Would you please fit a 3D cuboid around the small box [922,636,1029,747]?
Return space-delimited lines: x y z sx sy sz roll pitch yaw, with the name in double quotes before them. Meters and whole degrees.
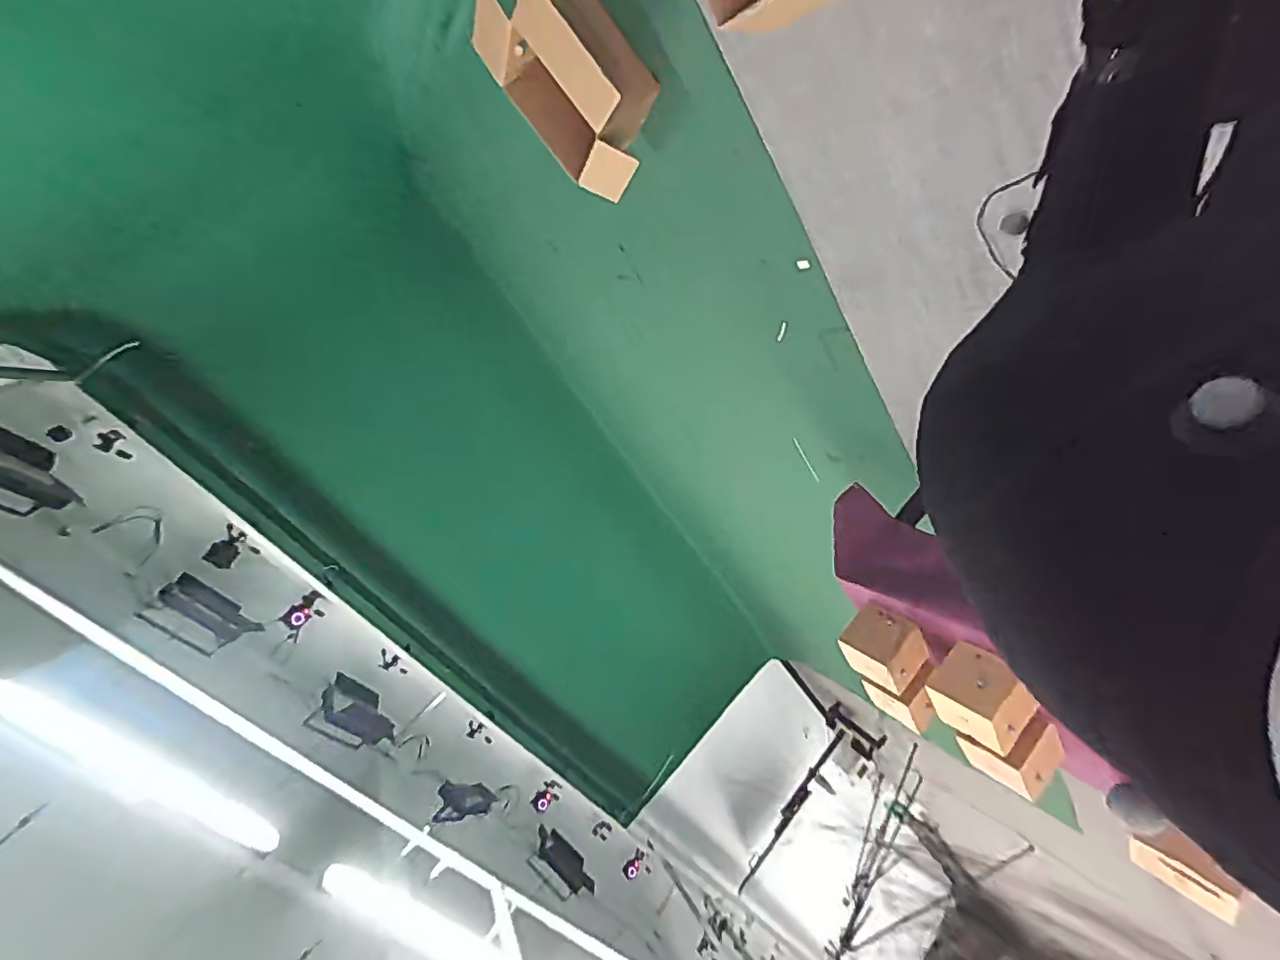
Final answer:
"small box" 0.868 0.537 1.397 0.168 0.176 0.179 21 151 56

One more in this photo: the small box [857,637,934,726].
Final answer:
"small box" 0.842 0.646 1.749 0.168 0.176 0.179 23 154 54

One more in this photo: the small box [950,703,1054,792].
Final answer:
"small box" 0.996 0.700 1.481 0.179 0.176 0.168 54 163 -27
